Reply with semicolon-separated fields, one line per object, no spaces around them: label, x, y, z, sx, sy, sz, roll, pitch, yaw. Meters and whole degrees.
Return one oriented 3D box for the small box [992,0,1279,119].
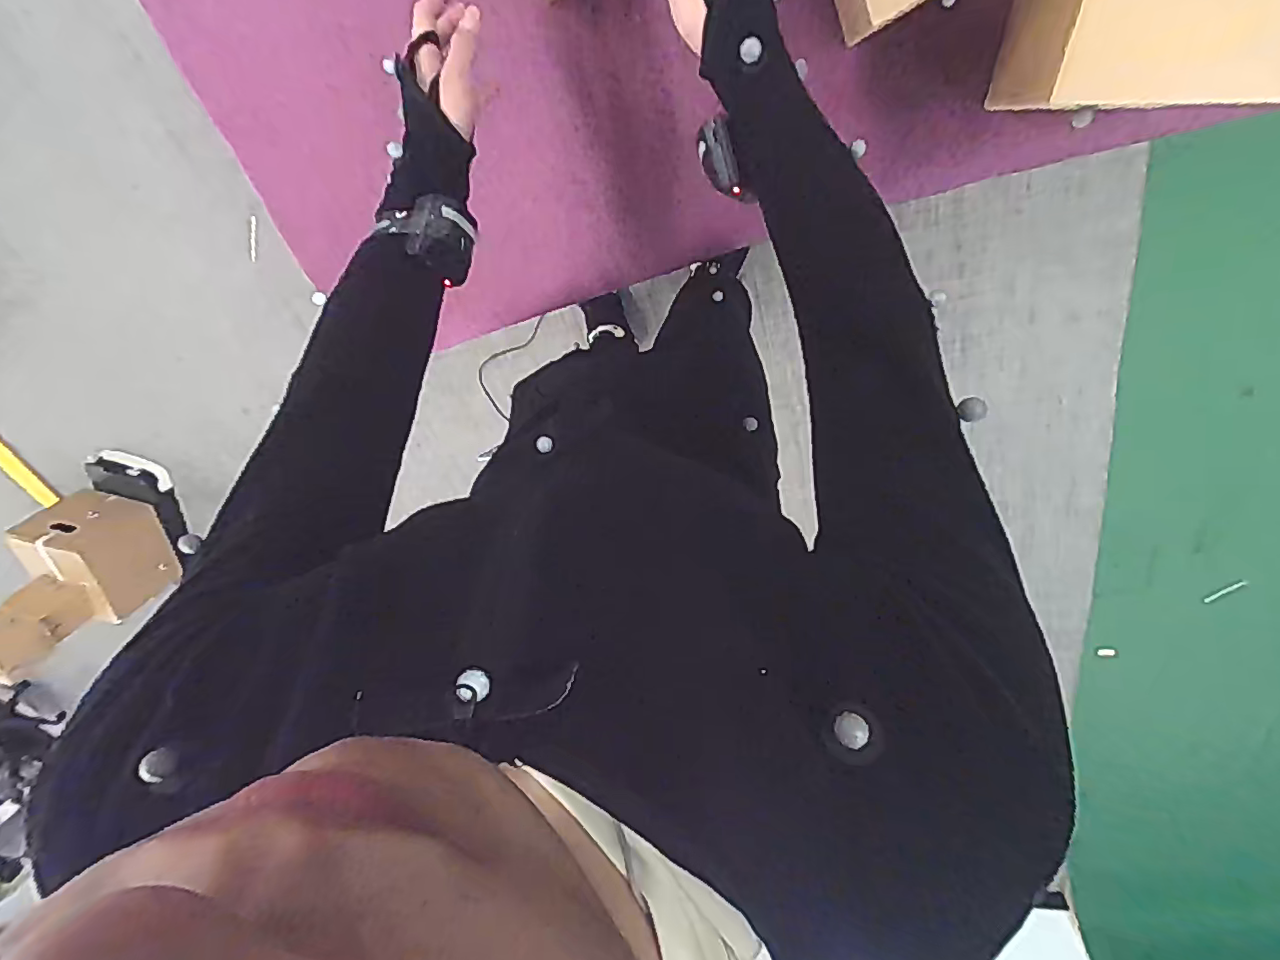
small box;0.425;-0.405;0.447;0.168;0.176;0.179;6;123;9
